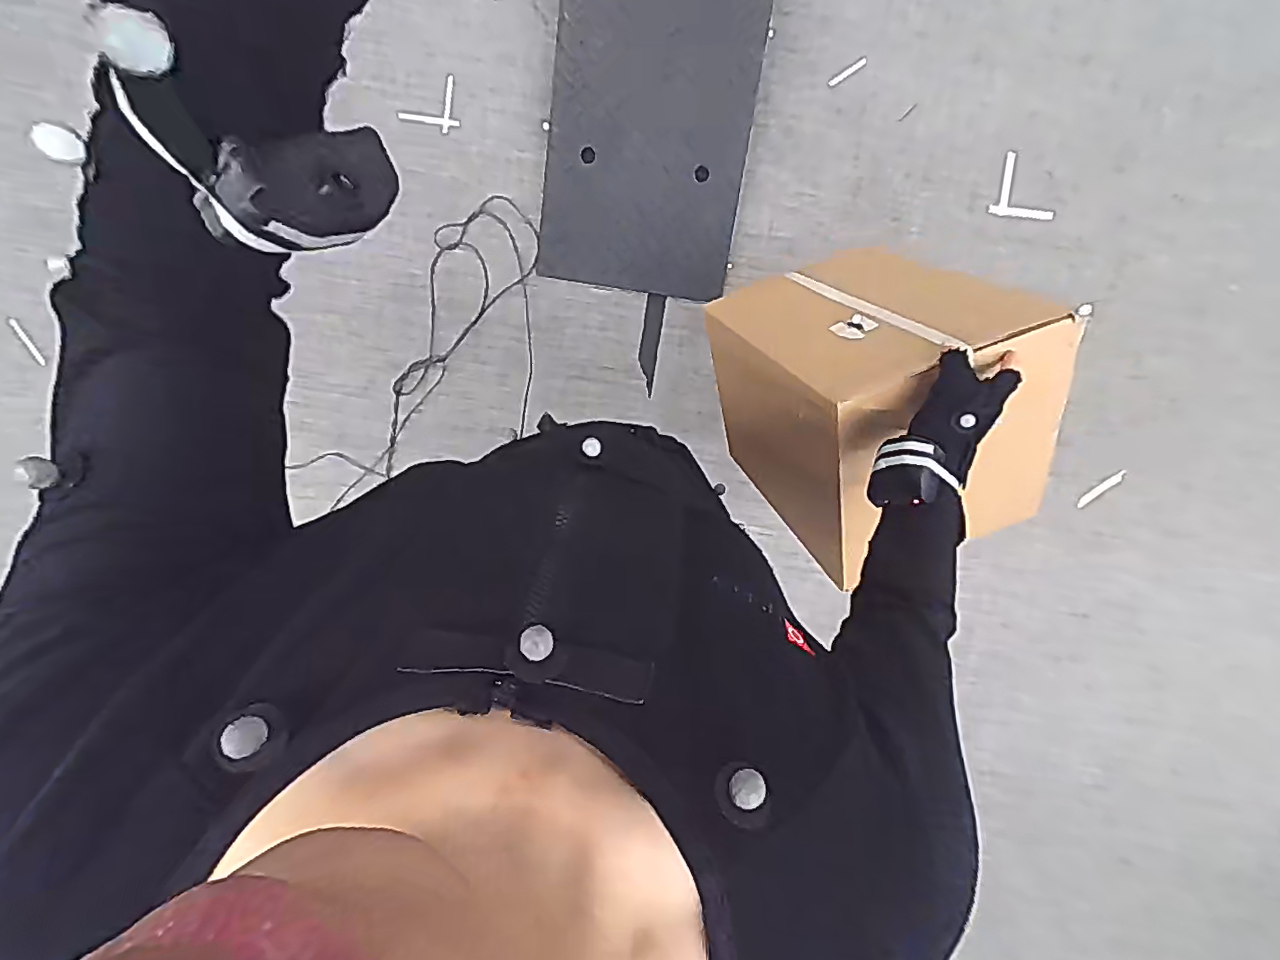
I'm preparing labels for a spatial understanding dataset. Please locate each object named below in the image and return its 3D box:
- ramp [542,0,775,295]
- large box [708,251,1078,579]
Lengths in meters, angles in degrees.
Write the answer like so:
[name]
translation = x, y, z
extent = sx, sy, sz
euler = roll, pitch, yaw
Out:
[ramp]
translation = 0.051, -0.994, 1.291
extent = 0.509, 0.206, 0.991
euler = 6, 97, -3
[large box]
translation = 0.340, -0.125, 0.851
extent = 0.320, 0.408, 0.320
euler = -21, 127, -4
